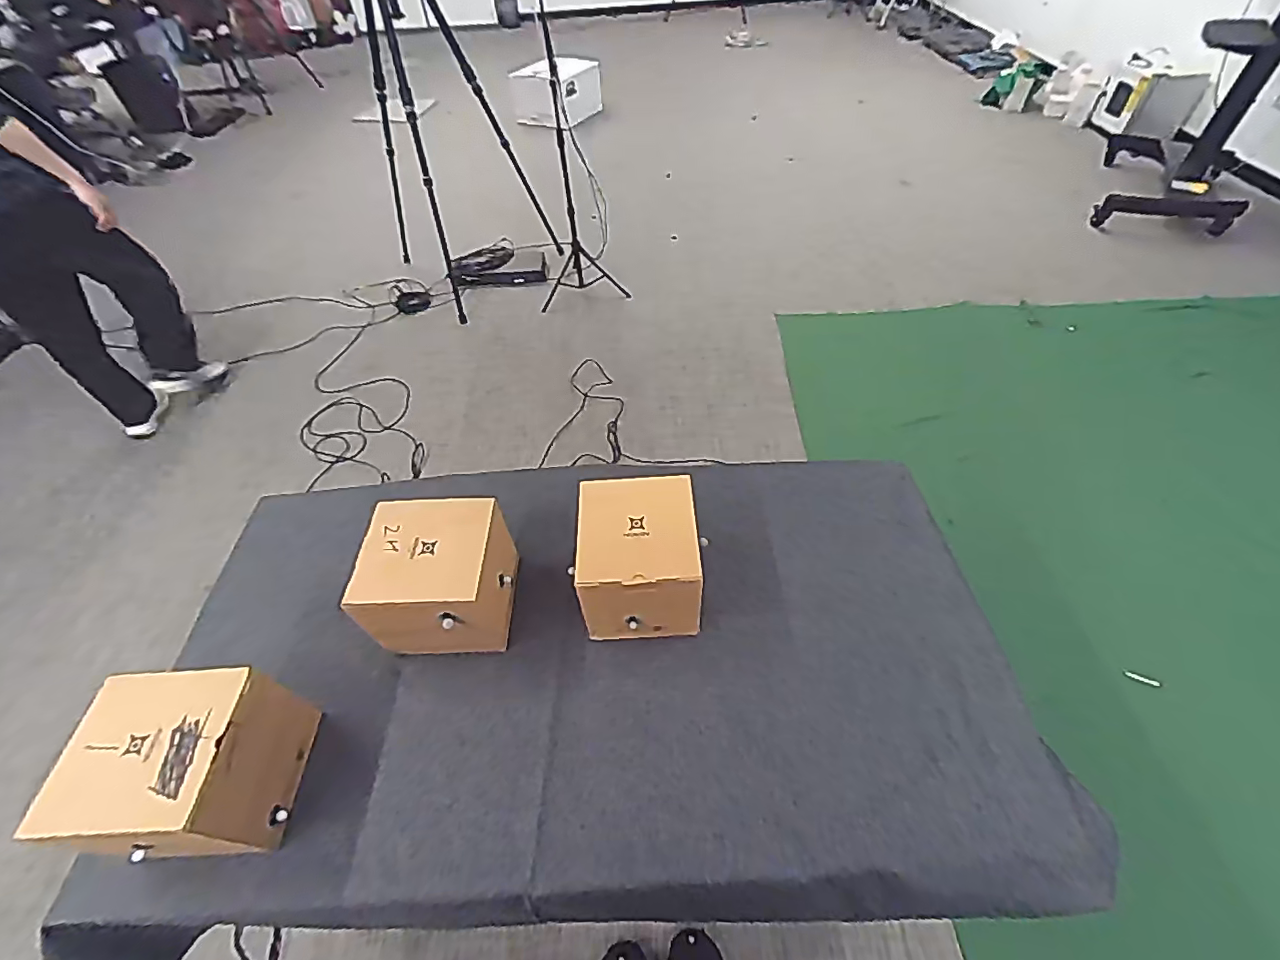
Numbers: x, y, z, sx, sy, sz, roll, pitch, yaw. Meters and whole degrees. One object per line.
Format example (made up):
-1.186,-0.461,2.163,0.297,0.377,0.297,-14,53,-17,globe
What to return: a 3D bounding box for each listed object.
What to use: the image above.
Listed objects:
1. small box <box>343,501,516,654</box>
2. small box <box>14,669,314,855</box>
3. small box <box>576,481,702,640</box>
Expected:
-0.290,0.146,0.795,0.179,0.176,0.168,-1,51,1,small box
-0.534,0.338,0.645,0.179,0.176,0.168,-3,49,1,small box
-0.001,0.121,0.807,0.168,0.176,0.179,-3,50,0,small box
